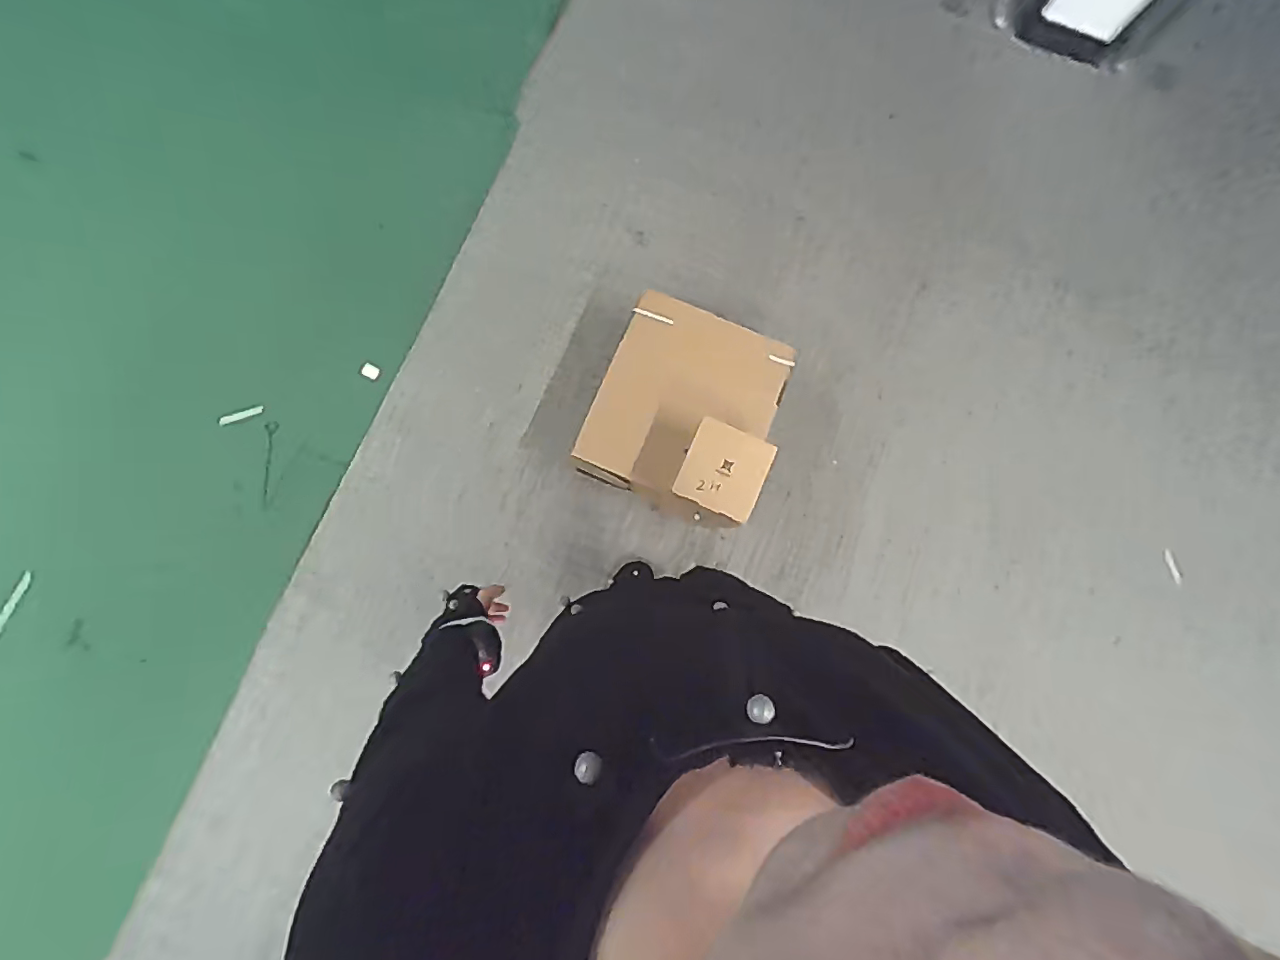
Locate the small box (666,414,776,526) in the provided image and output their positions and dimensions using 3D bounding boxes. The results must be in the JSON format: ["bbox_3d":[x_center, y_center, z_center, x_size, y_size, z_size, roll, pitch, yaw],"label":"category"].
[{"bbox_3d":[0.163,-0.013,1.159,0.168,0.176,0.179,24,81,1],"label":"small box"}]
